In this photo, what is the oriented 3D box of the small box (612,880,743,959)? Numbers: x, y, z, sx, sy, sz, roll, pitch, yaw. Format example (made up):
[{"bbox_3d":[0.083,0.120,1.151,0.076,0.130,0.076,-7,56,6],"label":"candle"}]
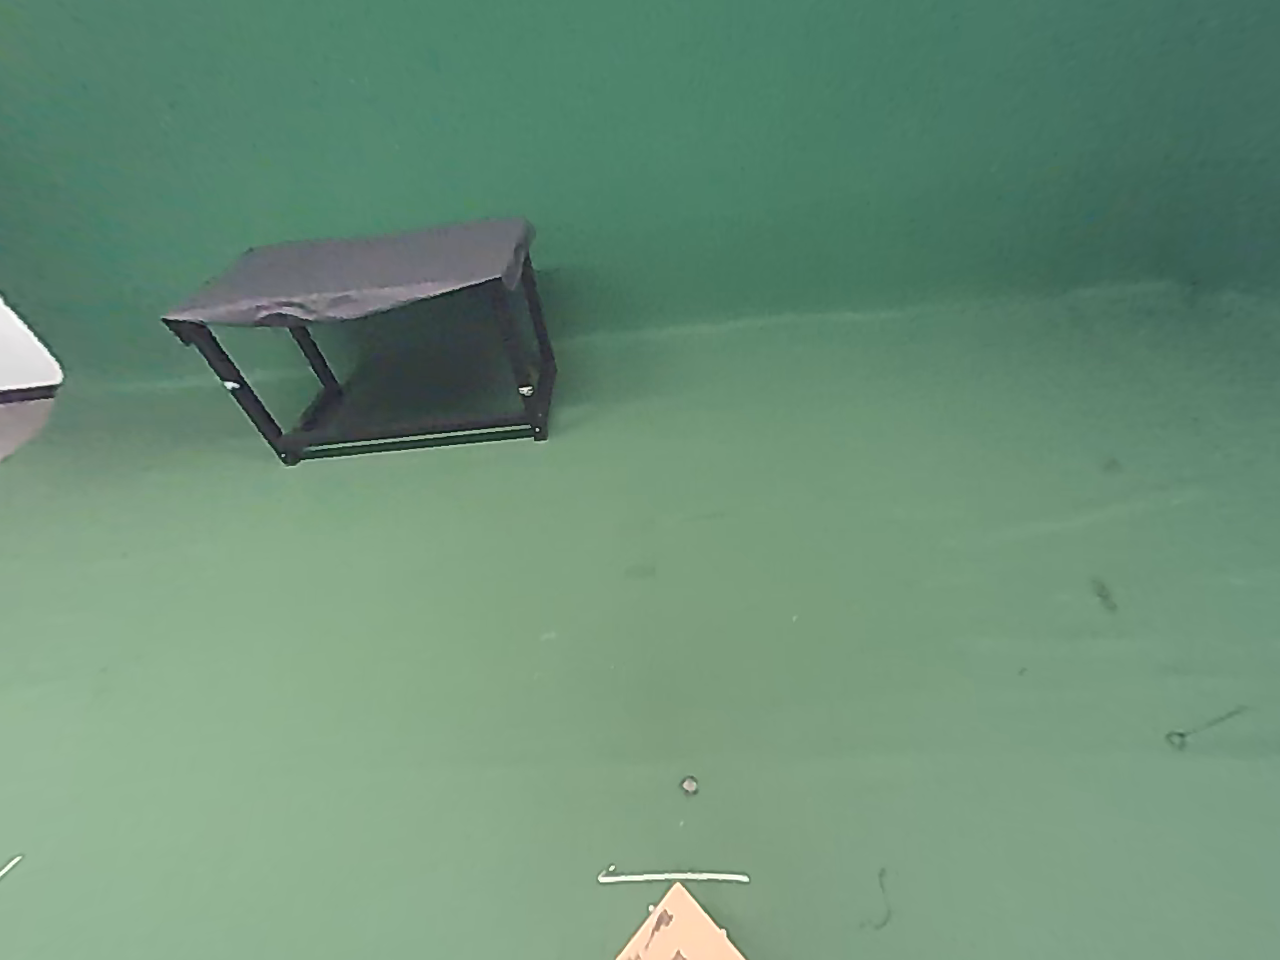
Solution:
[{"bbox_3d":[0.075,0.874,0.968,0.168,0.176,0.179,-36,50,-27],"label":"small box"}]
